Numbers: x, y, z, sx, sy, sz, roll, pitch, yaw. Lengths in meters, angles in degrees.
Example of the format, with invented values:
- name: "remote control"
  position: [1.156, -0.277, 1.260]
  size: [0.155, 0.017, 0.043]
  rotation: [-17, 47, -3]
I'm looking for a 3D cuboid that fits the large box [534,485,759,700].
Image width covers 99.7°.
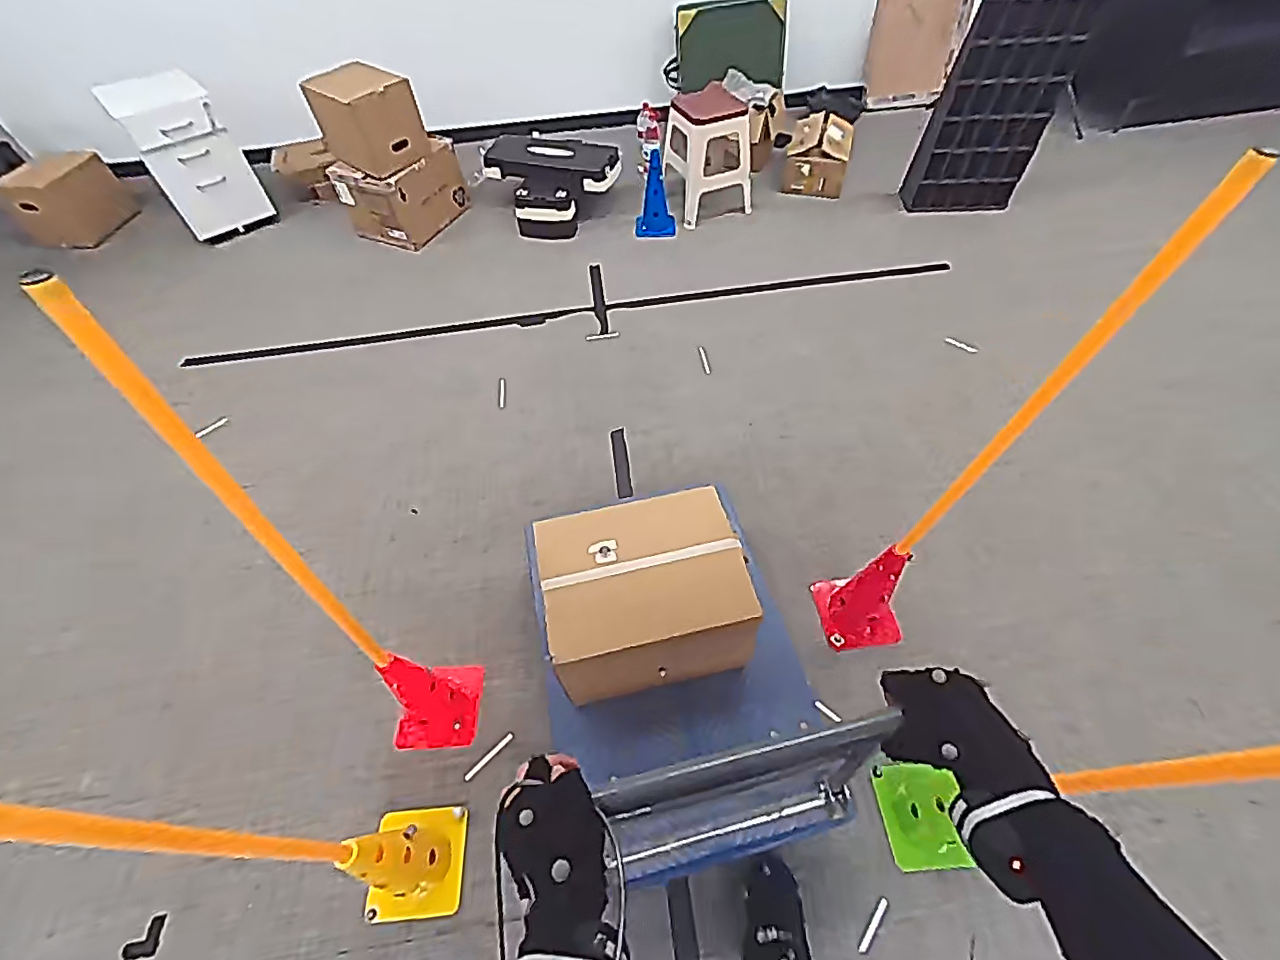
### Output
- name: "large box"
  position: [0.008, 0.258, 1.208]
  size: [0.408, 0.320, 0.320]
  rotation: [-12, 54, -5]

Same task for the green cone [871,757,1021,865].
- name: "green cone"
  position: [0.637, 0.636, 1.076]
  size: [0.202, 0.368, 0.200]
  rotation: [-4, 53, -2]

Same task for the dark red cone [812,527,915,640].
- name: "dark red cone"
  position: [0.590, 0.239, 1.351]
  size: [0.201, 0.394, 0.202]
  rotation: [-7, 54, -4]

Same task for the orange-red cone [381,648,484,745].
- name: "orange-red cone"
  position: [-0.516, 0.470, 1.257]
  size: [0.198, 0.360, 0.199]
  rotation: [-1, 52, 1]
